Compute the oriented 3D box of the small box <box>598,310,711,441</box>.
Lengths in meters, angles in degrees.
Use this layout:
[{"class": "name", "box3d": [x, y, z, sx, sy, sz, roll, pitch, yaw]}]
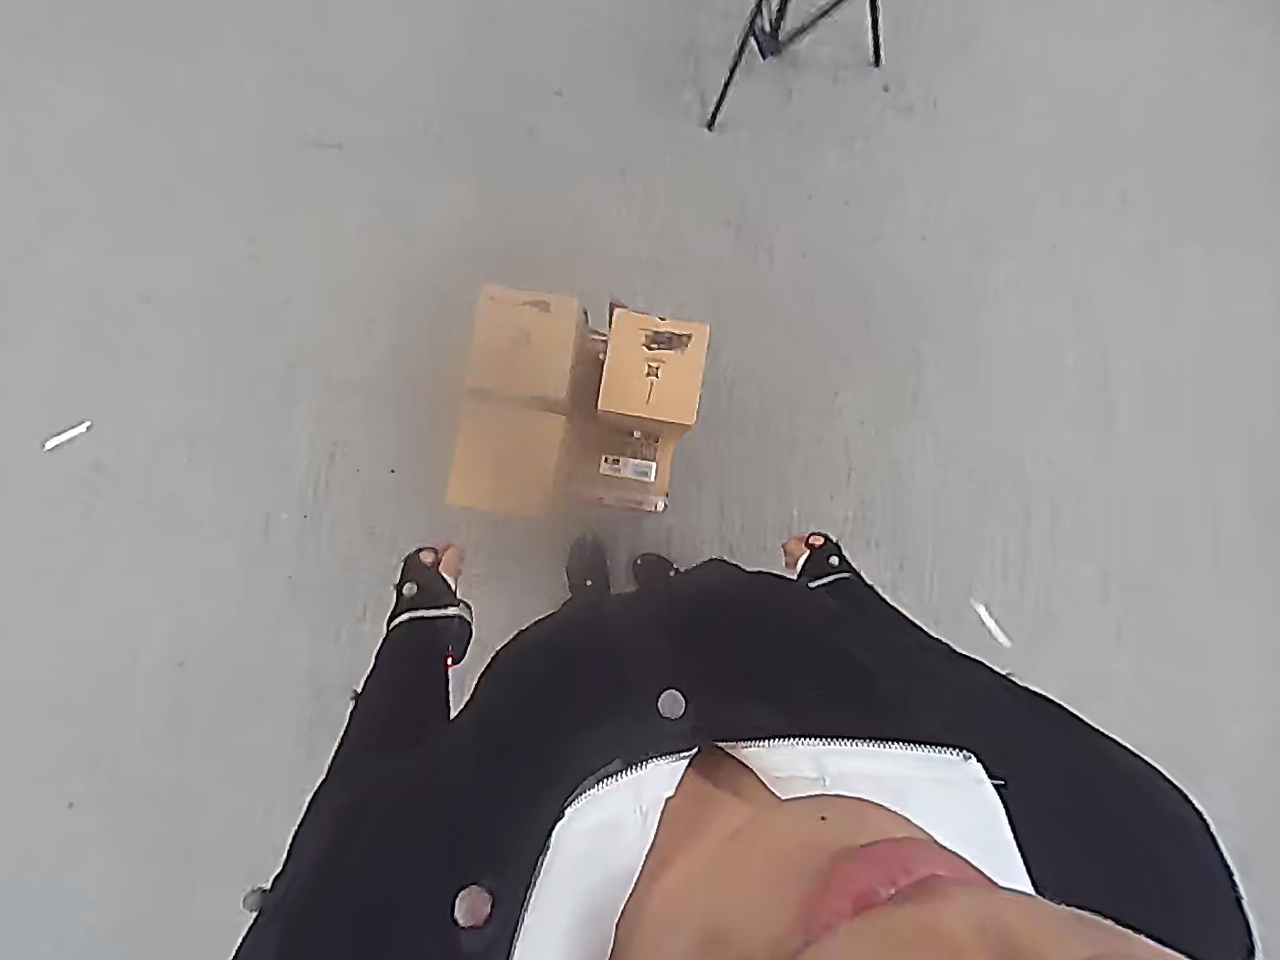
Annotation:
[{"class": "small box", "box3d": [0.020, -0.178, 0.975, 0.168, 0.176, 0.179, 10, 86, -2]}]
